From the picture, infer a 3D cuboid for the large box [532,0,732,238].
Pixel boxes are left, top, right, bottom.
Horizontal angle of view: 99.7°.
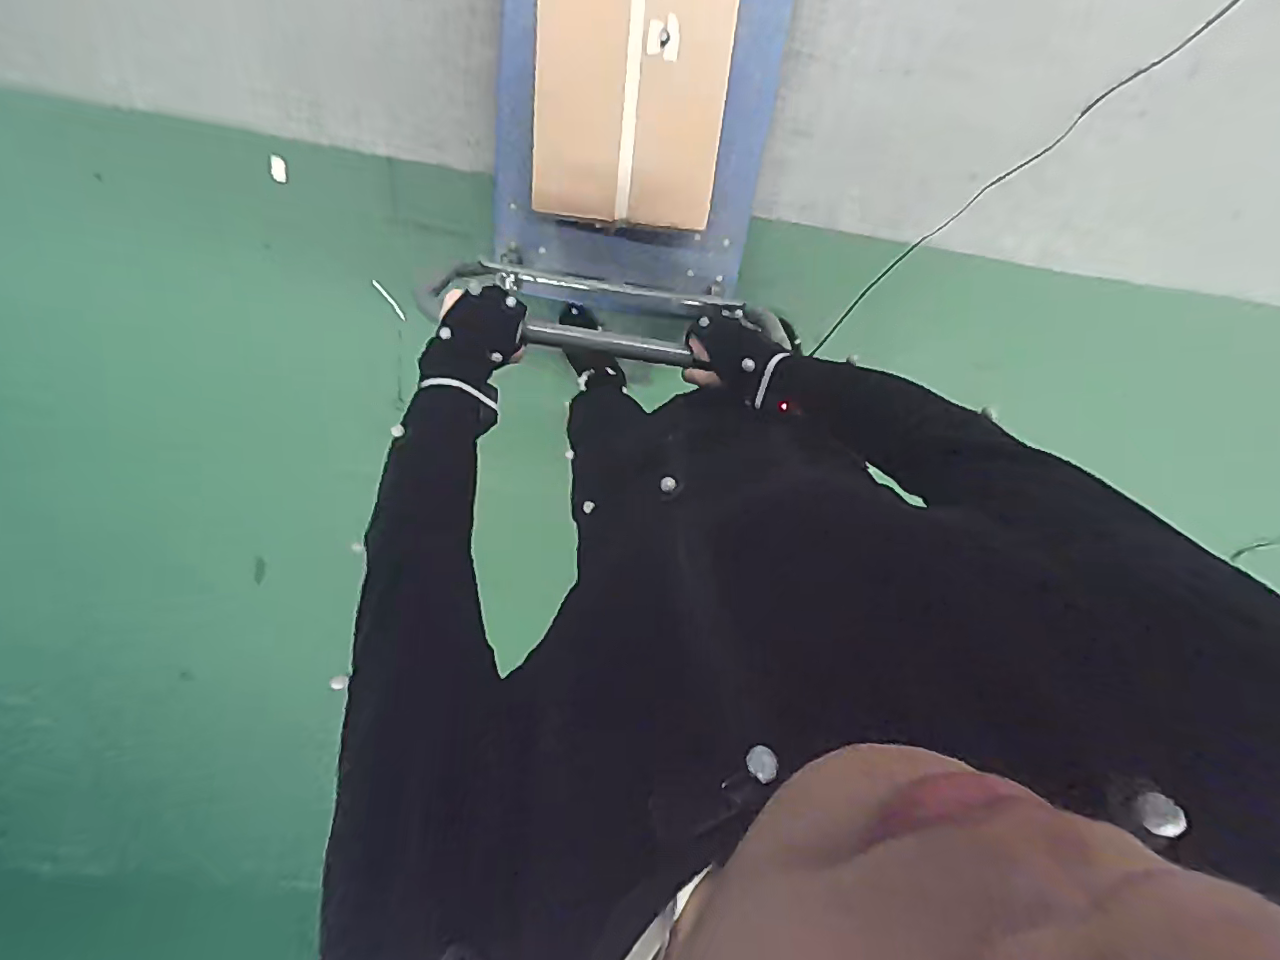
[{"bbox_3d":[-0.020,-0.696,1.035,0.320,0.320,0.408,5,113,-3],"label":"large box"}]
